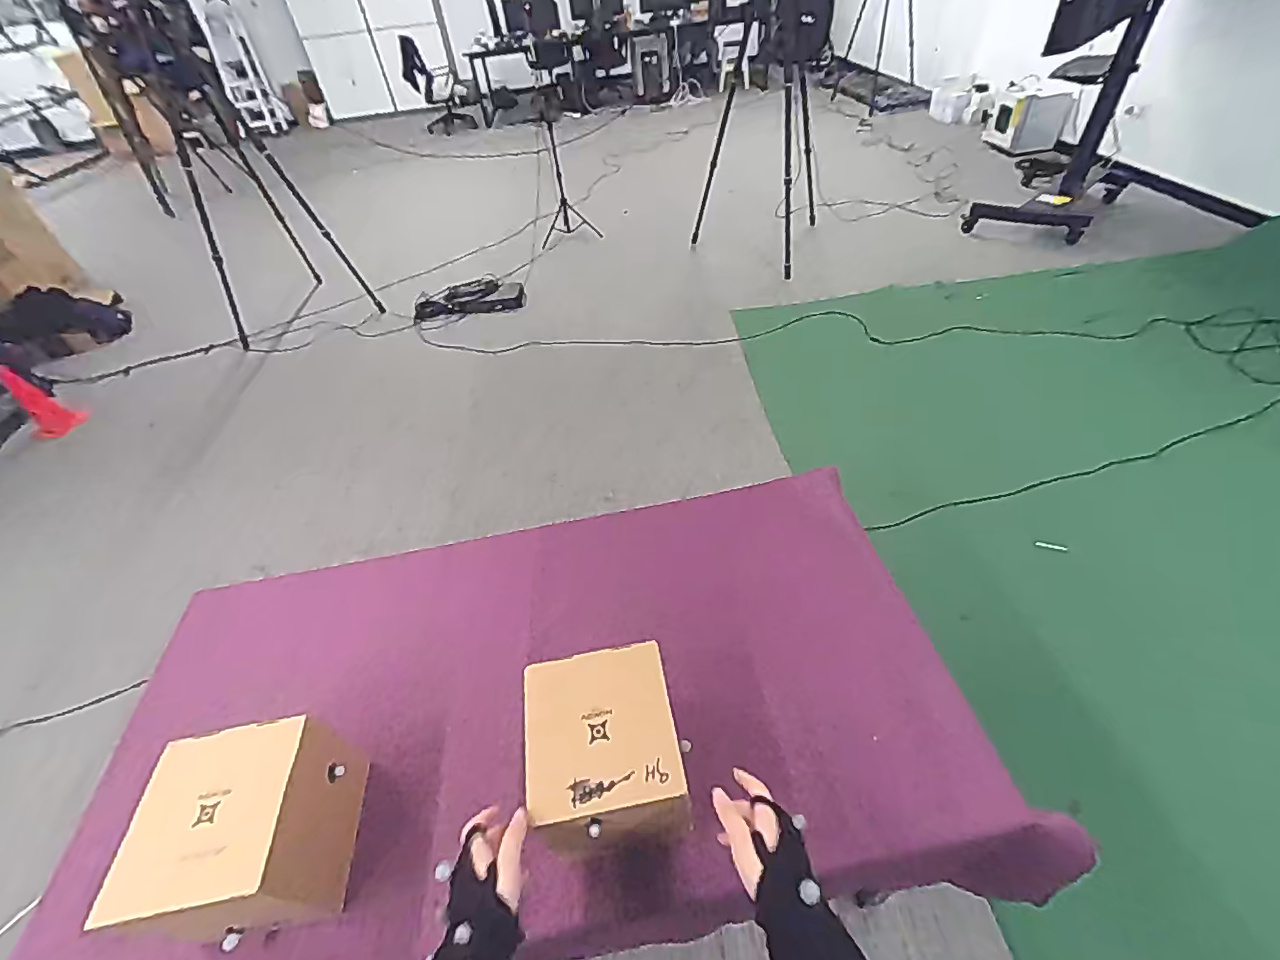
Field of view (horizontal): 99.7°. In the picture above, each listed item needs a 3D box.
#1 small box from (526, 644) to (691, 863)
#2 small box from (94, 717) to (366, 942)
[{"bbox_3d":[-0.037,0.331,0.656,0.168,0.176,0.179,-11,45,-2],"label":"small box"},{"bbox_3d":[-0.450,0.411,0.636,0.168,0.176,0.179,-10,46,-2],"label":"small box"}]
